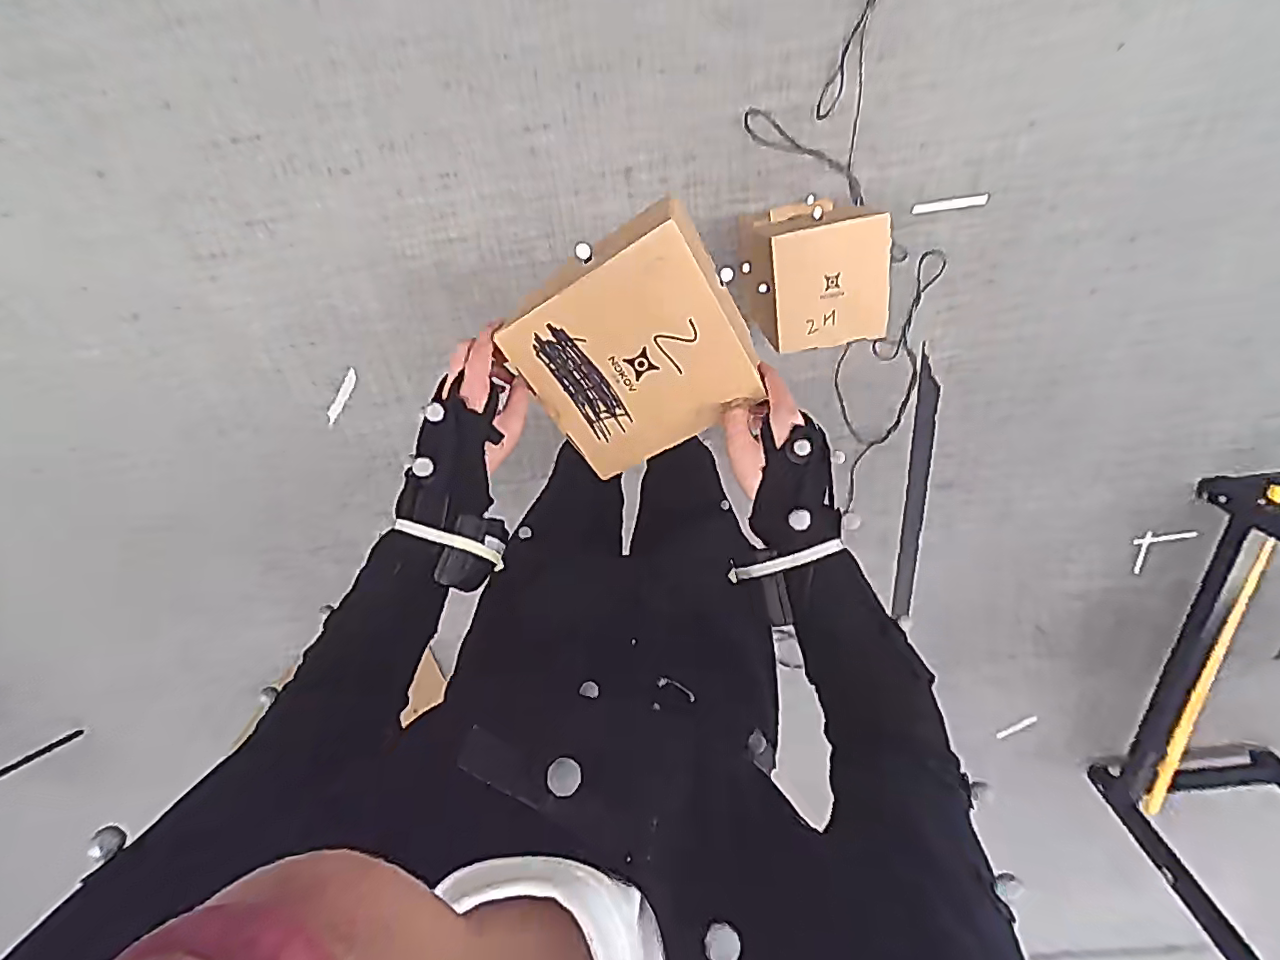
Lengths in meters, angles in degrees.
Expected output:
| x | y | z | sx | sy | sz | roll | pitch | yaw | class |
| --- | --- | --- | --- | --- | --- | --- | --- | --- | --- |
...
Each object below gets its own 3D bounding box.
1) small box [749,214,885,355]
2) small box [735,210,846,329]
| x | y | z | sx | sy | sz | roll | pitch | yaw | class |
| --- | --- | --- | --- | --- | --- | --- | --- | --- | --- |
| 0.274 | -0.319 | 0.864 | 0.168 | 0.176 | 0.179 | -9 | 119 | 6 | small box |
| 0.274 | -0.398 | 1.008 | 0.168 | 0.176 | 0.179 | -7 | 119 | 5 | small box |
